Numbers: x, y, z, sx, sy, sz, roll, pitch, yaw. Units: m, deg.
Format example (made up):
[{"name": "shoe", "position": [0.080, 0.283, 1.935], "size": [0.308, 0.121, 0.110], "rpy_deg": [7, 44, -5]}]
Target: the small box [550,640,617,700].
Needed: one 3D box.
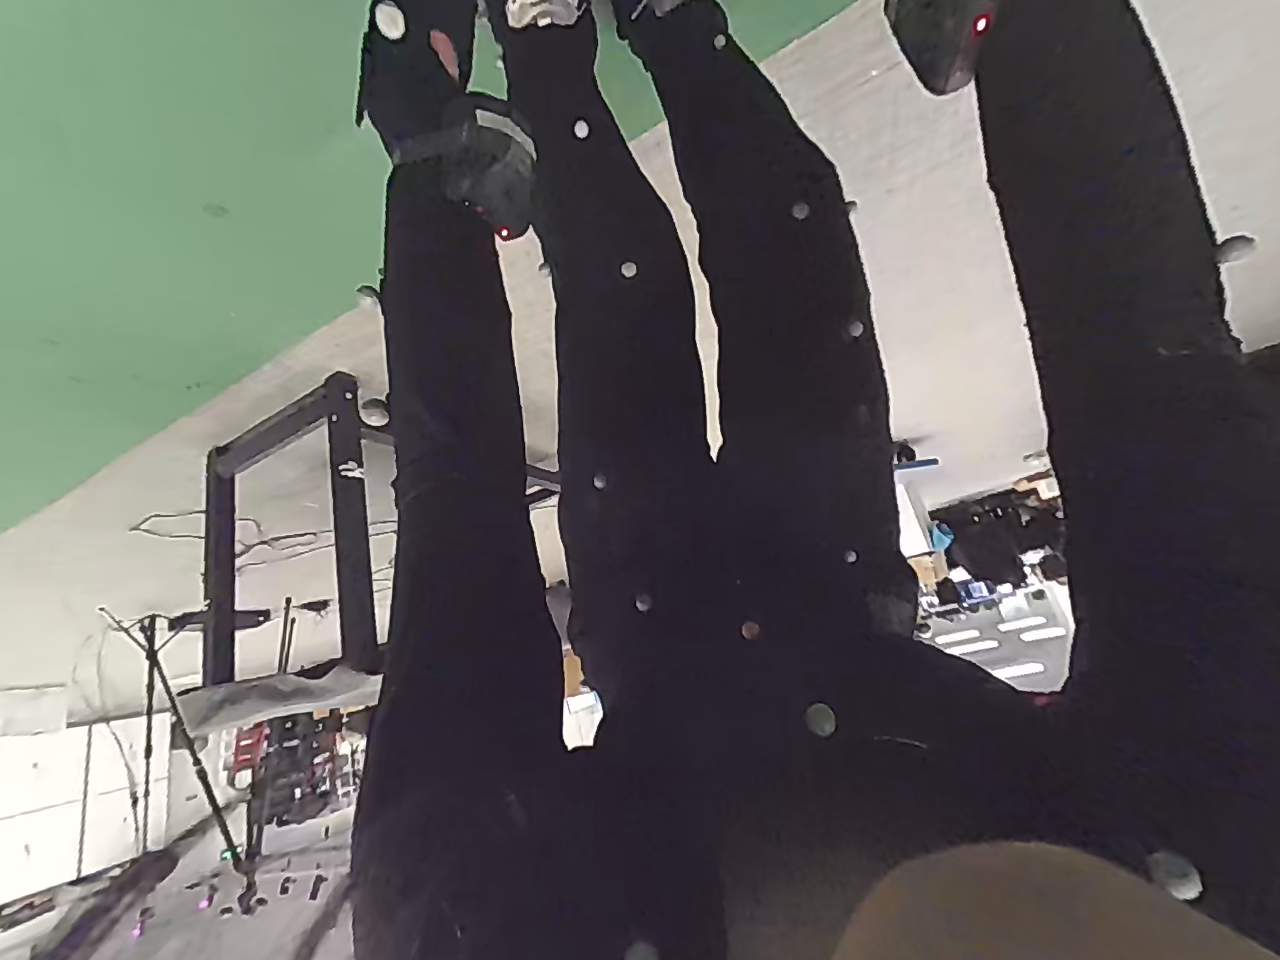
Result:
[{"name": "small box", "position": [-0.212, 0.699, 1.999], "size": [0.168, 0.176, 0.179], "rpy_deg": [-20, 162, 21]}]
